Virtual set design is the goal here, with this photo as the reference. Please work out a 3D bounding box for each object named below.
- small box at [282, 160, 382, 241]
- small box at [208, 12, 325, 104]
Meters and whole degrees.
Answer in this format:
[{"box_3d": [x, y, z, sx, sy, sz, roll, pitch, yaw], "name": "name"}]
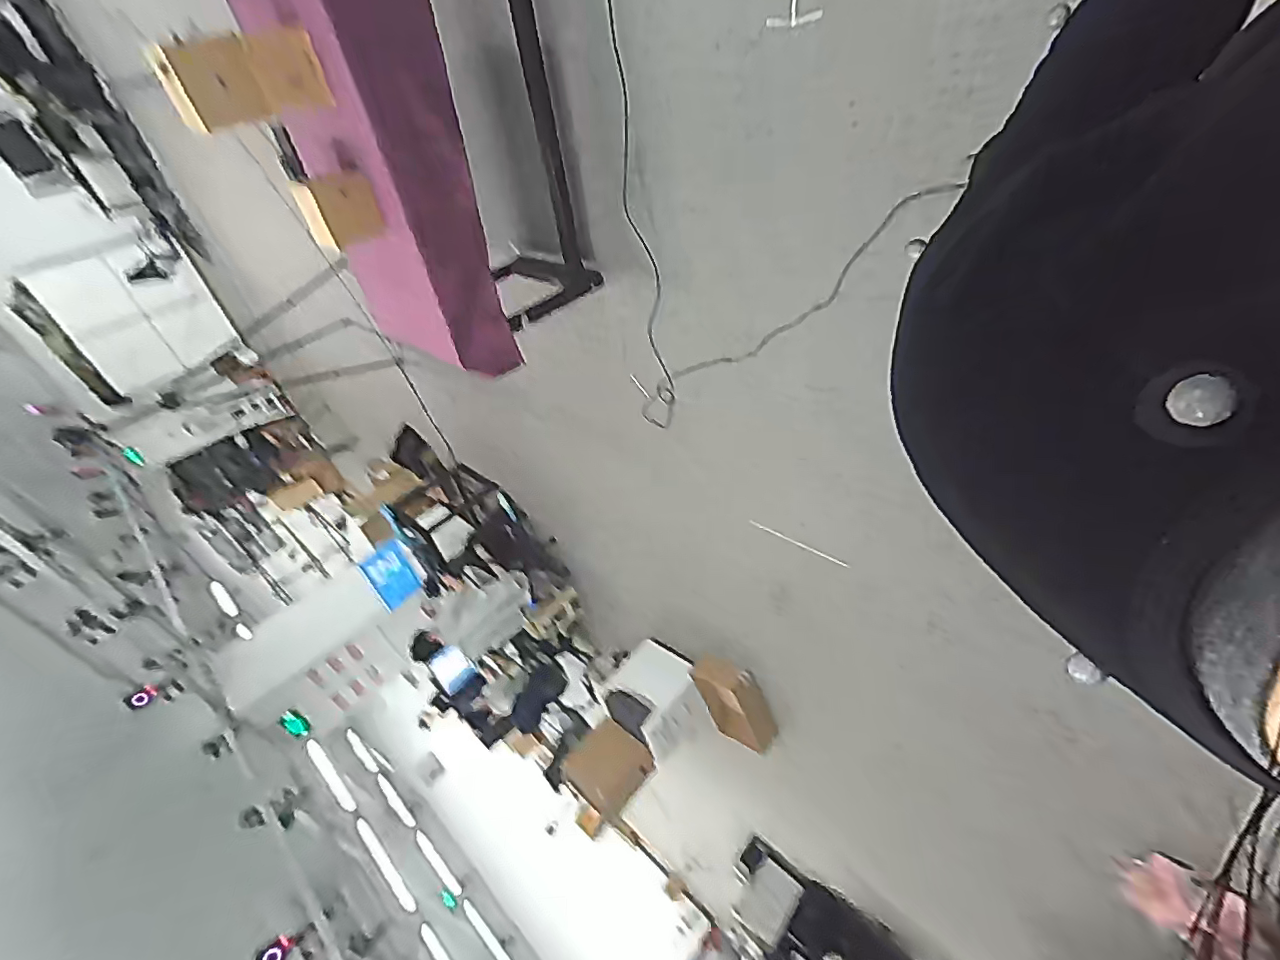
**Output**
[{"box_3d": [-0.916, -0.844, 1.621, 0.168, 0.176, 0.179, 28, 143, 34], "name": "small box"}, {"box_3d": [-0.953, -1.091, 1.398, 0.179, 0.176, 0.168, 29, 144, 33], "name": "small box"}]
